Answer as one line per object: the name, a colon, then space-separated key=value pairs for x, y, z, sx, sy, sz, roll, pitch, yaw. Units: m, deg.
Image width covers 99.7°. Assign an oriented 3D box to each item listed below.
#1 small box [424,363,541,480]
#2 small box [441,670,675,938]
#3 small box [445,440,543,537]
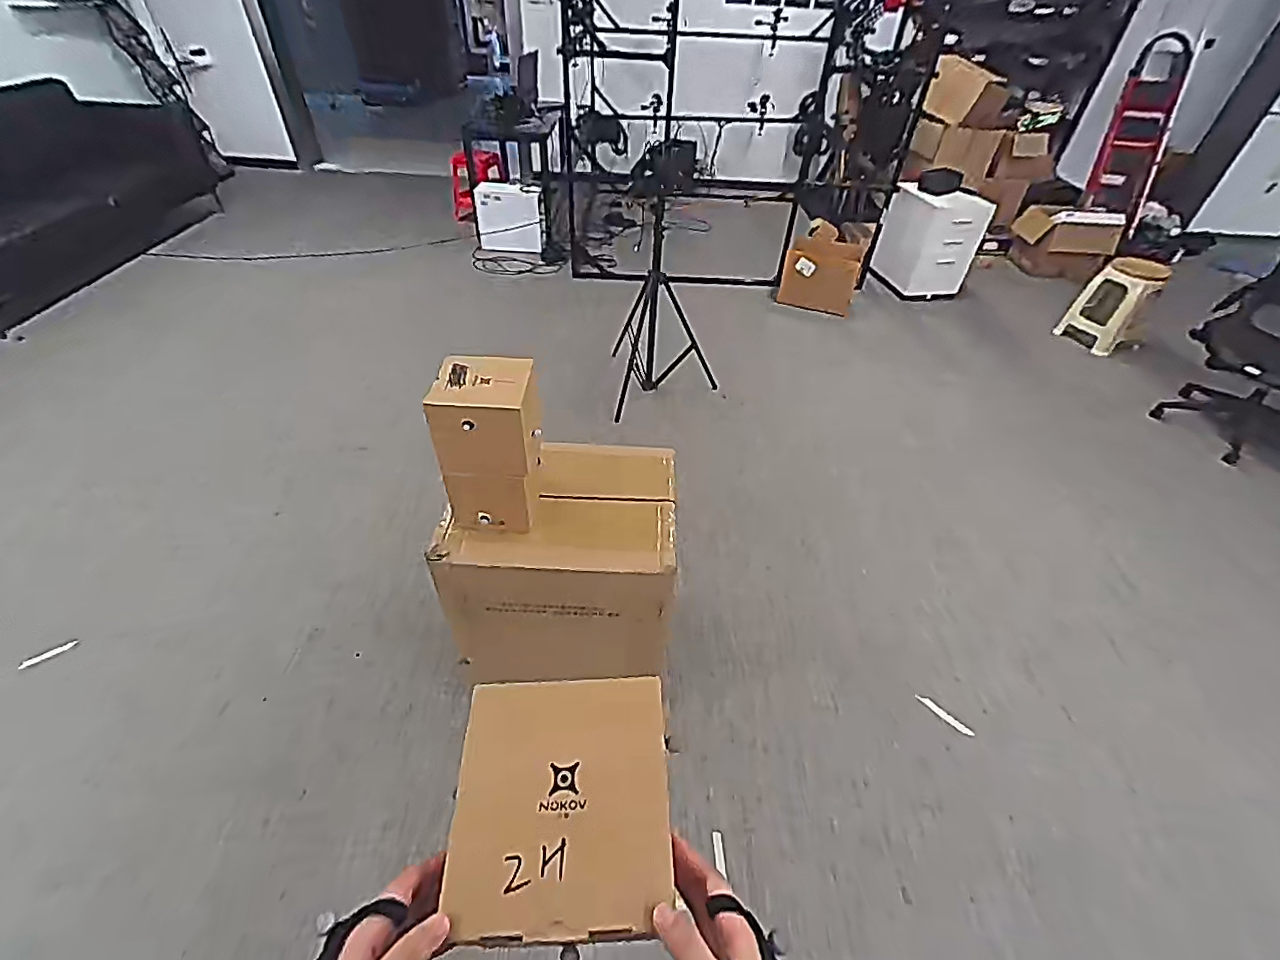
small box: x=-0.301 y=-0.114 z=1.075 sx=0.179 sy=0.176 sz=0.168 roll=2 pitch=44 yaw=-2
small box: x=-0.059 y=0.292 z=0.489 sx=0.168 sy=0.176 sz=0.179 roll=-3 pitch=48 yaw=-1
small box: x=-0.310 y=0.004 z=1.189 sx=0.168 sy=0.176 sz=0.179 roll=2 pitch=45 yaw=-1
